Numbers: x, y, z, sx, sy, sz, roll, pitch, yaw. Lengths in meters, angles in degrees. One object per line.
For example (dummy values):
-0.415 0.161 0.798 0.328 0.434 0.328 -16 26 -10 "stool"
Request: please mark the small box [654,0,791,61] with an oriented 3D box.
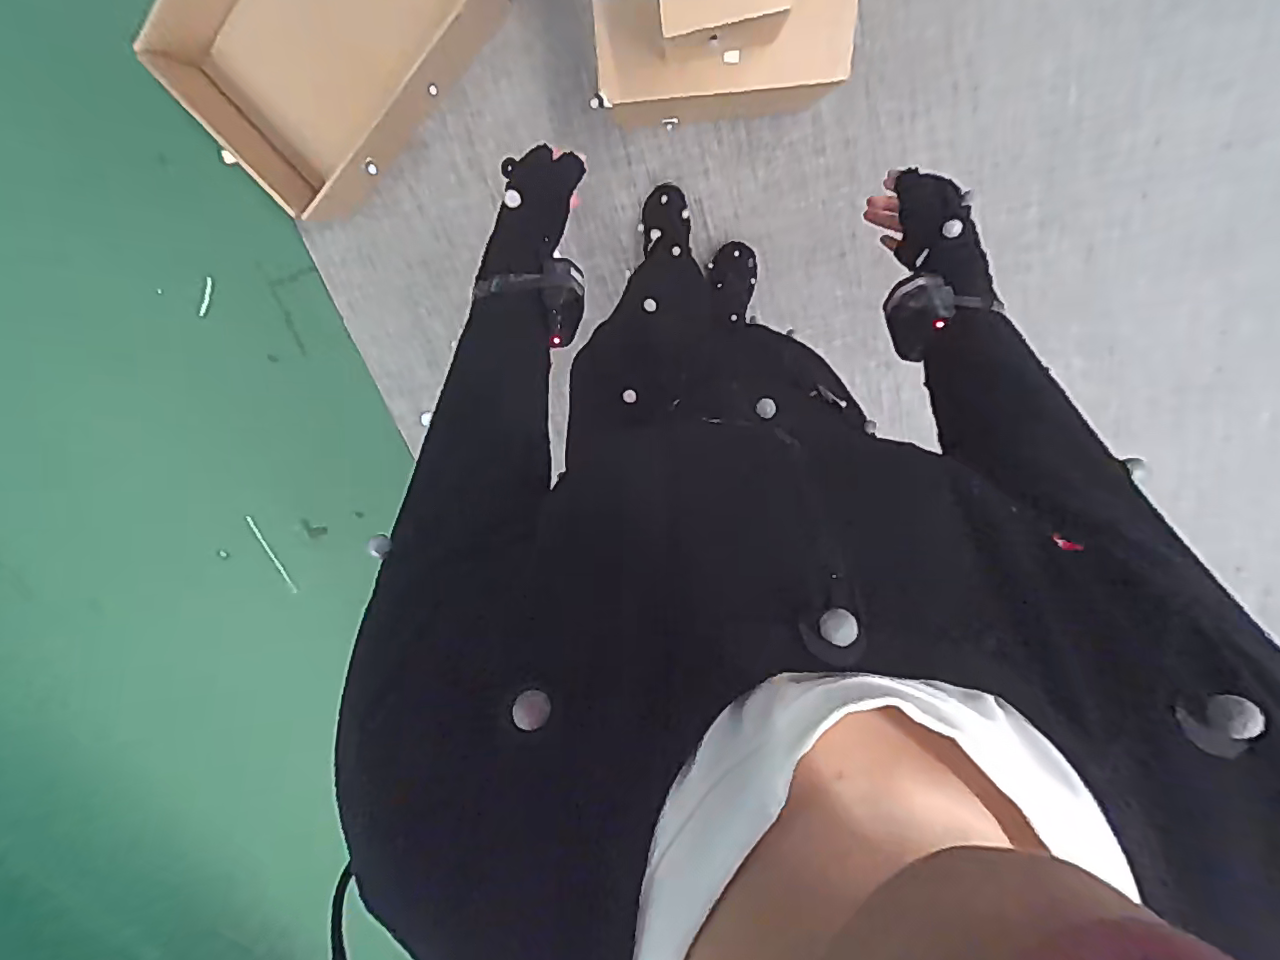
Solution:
0.107 -0.707 0.744 0.179 0.176 0.168 -6 117 10 "small box"
